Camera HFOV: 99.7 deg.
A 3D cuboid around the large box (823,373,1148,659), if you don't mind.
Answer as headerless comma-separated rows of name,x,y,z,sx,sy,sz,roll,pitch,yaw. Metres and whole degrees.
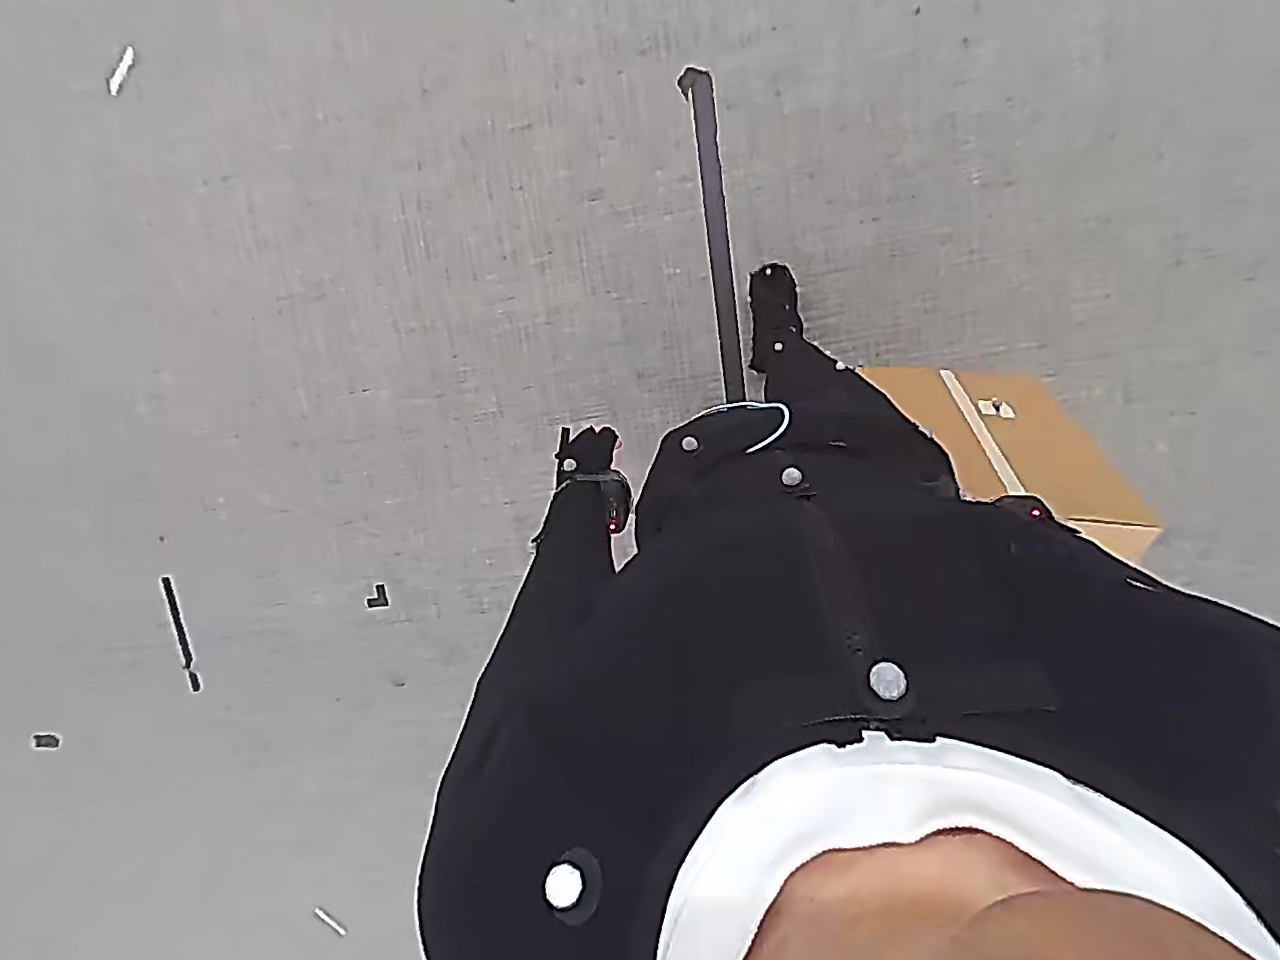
large box,0.524,0.045,0.943,0.320,0.408,0.320,5,127,7
